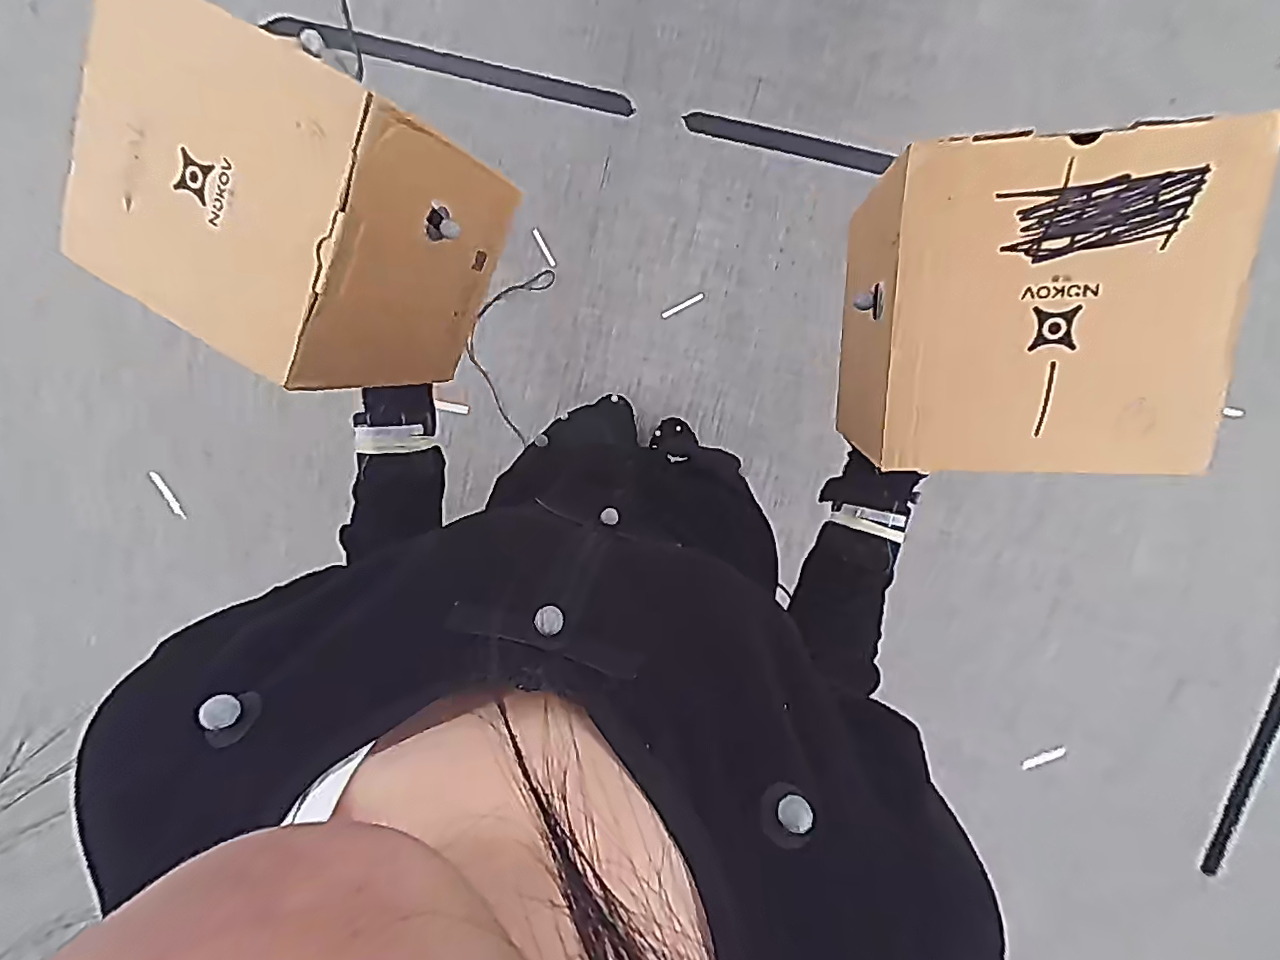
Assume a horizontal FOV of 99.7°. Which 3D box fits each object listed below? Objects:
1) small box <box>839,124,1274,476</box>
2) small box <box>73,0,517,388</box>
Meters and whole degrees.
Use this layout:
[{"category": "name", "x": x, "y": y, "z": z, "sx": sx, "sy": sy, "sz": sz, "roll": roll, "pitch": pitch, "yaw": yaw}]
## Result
[{"category": "small box", "x": 0.238, "y": -0.107, "z": 0.367, "sx": 0.168, "sy": 0.176, "sz": 0.179, "roll": 2, "pitch": 104, "yaw": 11}, {"category": "small box", "x": -0.214, "y": -0.179, "z": 0.372, "sx": 0.179, "sy": 0.176, "sz": 0.168, "roll": 30, "pitch": 106, "yaw": 7}]
